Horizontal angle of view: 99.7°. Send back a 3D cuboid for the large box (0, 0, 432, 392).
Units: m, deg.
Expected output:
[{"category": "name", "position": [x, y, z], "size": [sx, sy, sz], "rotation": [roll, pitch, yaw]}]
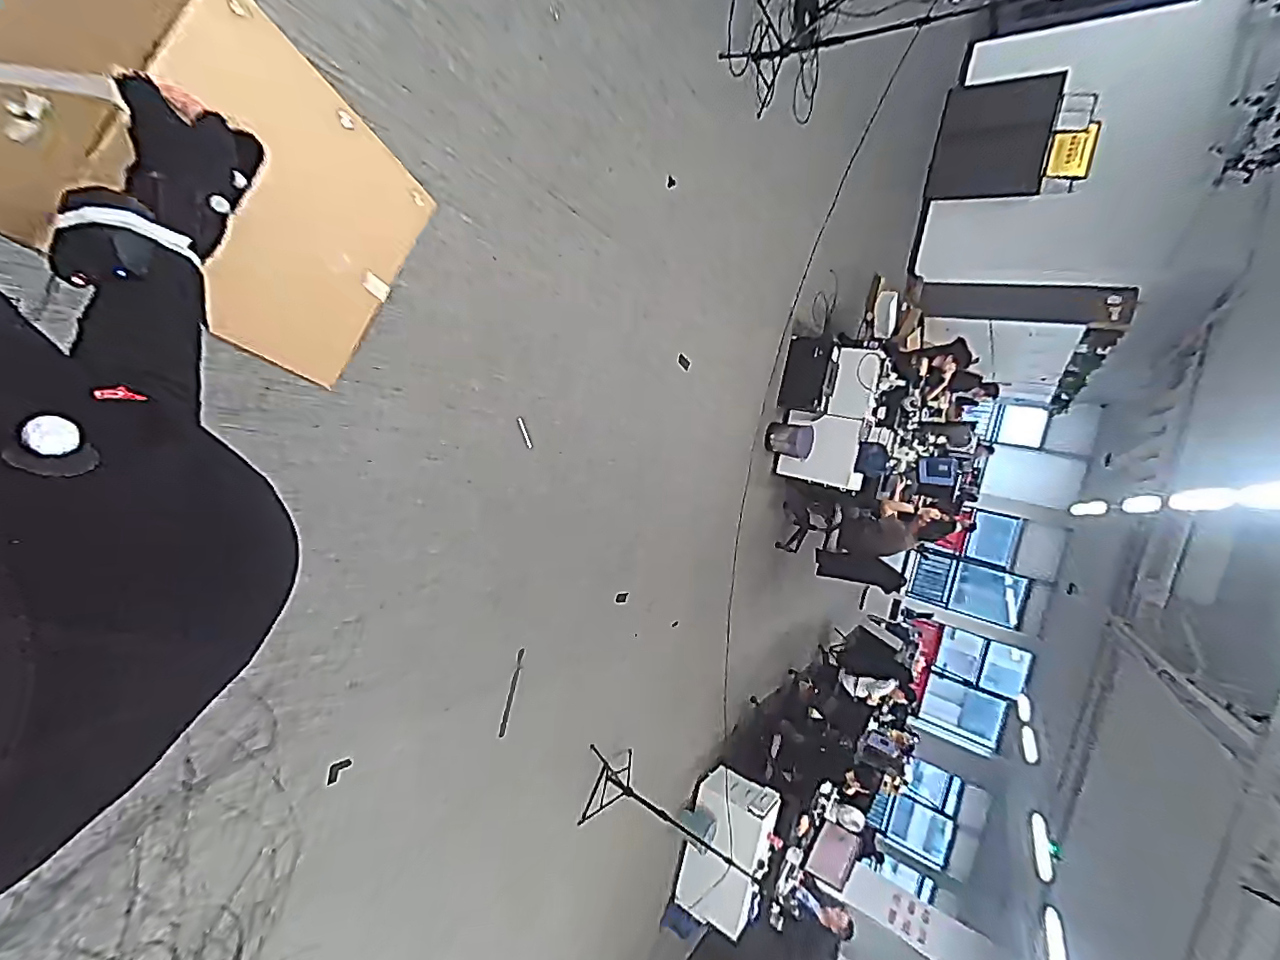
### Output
[{"category": "large box", "position": [-0.574, -0.362, 0.705], "size": [0.320, 0.408, 0.320], "rotation": [-64, 157, -6]}]
